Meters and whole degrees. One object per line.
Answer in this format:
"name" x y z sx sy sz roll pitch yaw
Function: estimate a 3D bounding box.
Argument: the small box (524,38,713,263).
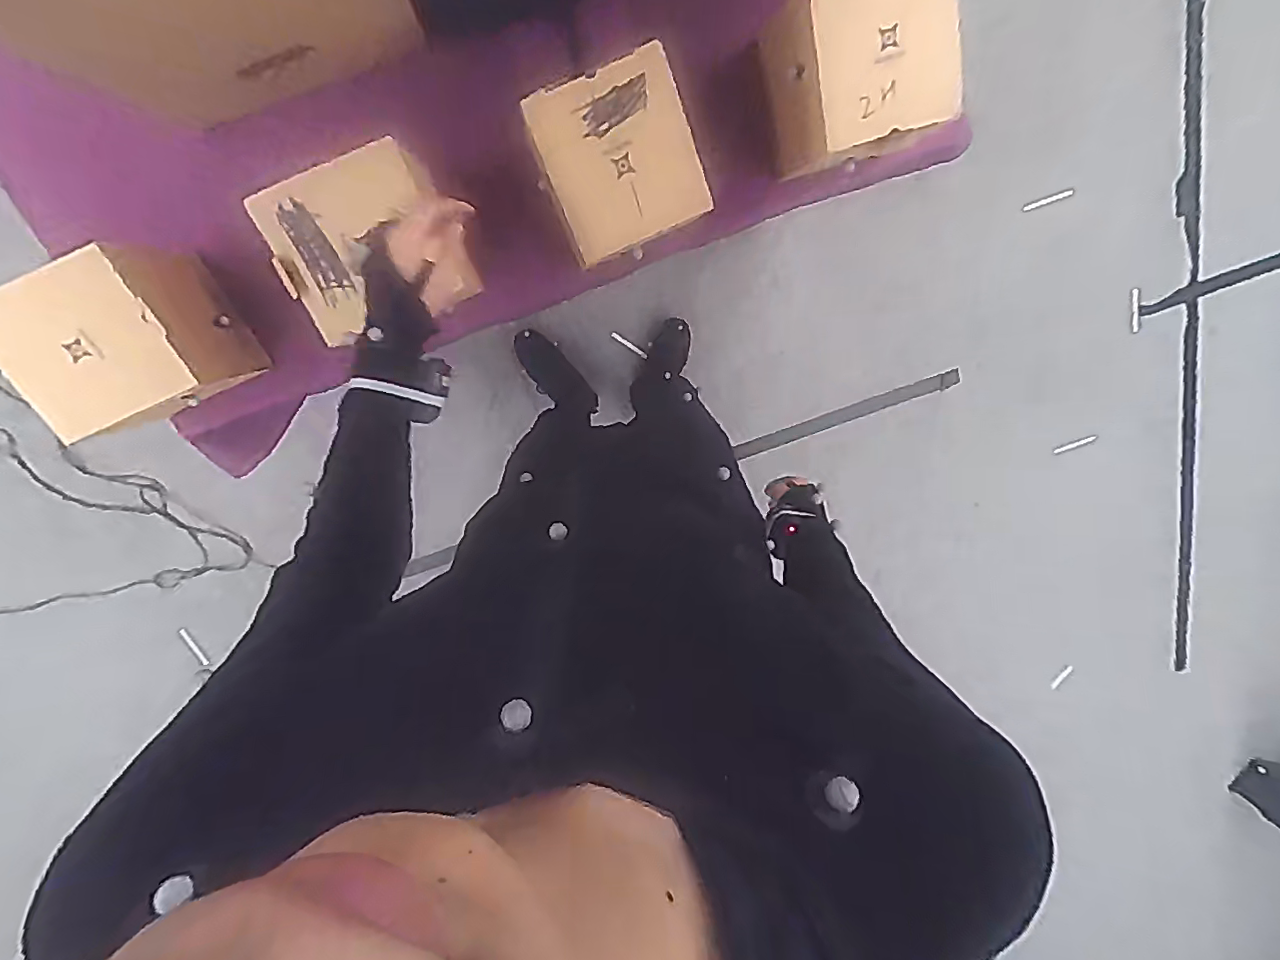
"small box" -0.030 -0.386 0.671 0.168 0.176 0.179 -23 112 2

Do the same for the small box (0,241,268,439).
"small box" -0.621 -0.173 0.670 0.179 0.176 0.168 -25 110 0
